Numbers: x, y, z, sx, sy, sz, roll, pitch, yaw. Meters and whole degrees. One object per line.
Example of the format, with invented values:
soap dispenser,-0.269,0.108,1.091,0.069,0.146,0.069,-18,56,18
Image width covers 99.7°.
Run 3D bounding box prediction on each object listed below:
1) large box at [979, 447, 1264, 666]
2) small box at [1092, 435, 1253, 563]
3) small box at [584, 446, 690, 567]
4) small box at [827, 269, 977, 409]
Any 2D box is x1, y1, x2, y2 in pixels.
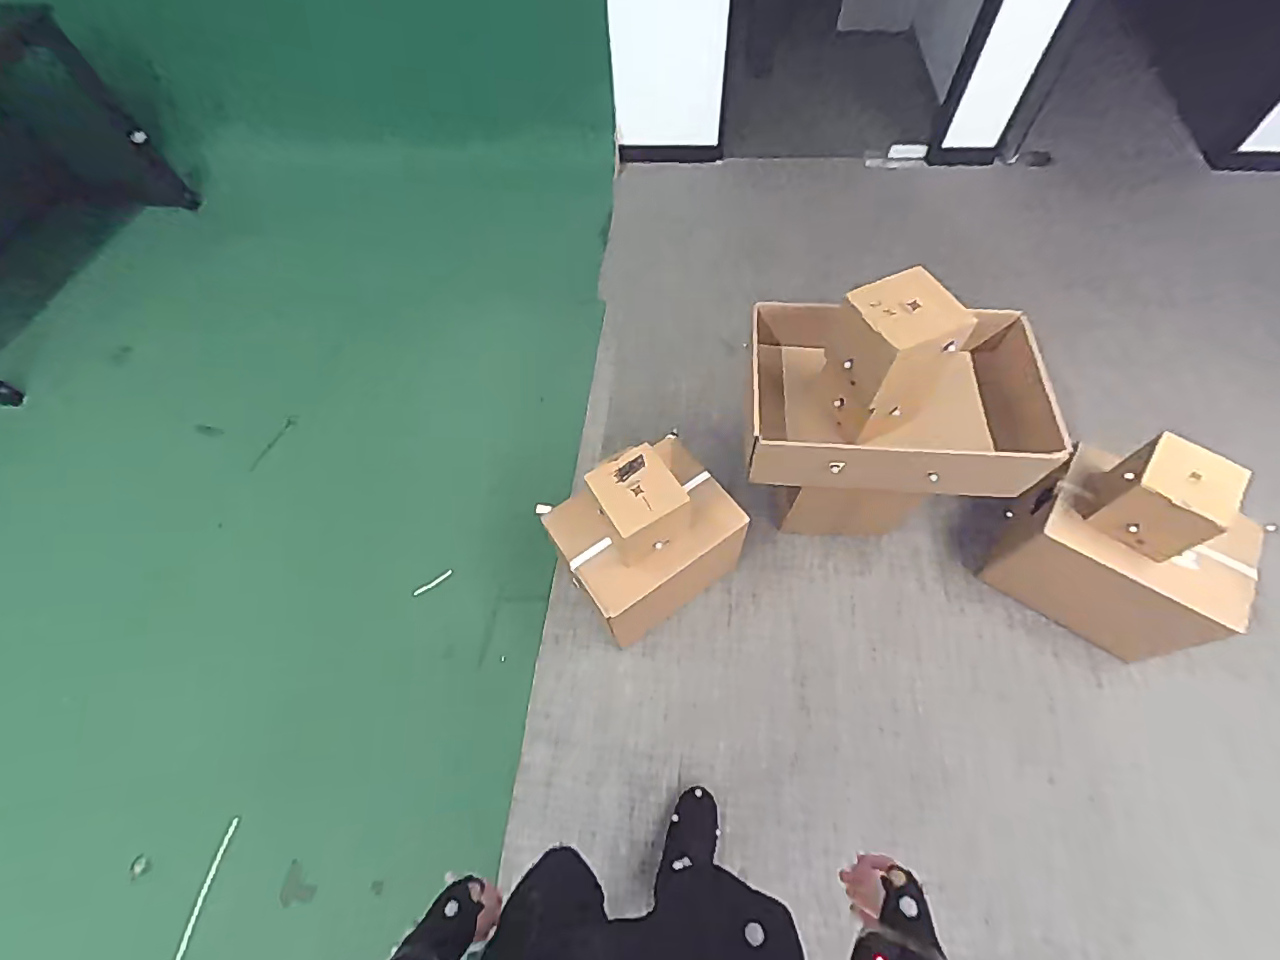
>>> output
large box,1.163,0.193,1.349,0.408,0.320,0.320,32,67,18
small box,1.124,0.044,1.155,0.168,0.176,0.179,36,67,20
small box,-0.007,0.063,1.195,0.168,0.176,0.179,-29,63,-13
small box,0.495,-0.269,1.052,0.179,0.176,0.168,-22,61,-9
